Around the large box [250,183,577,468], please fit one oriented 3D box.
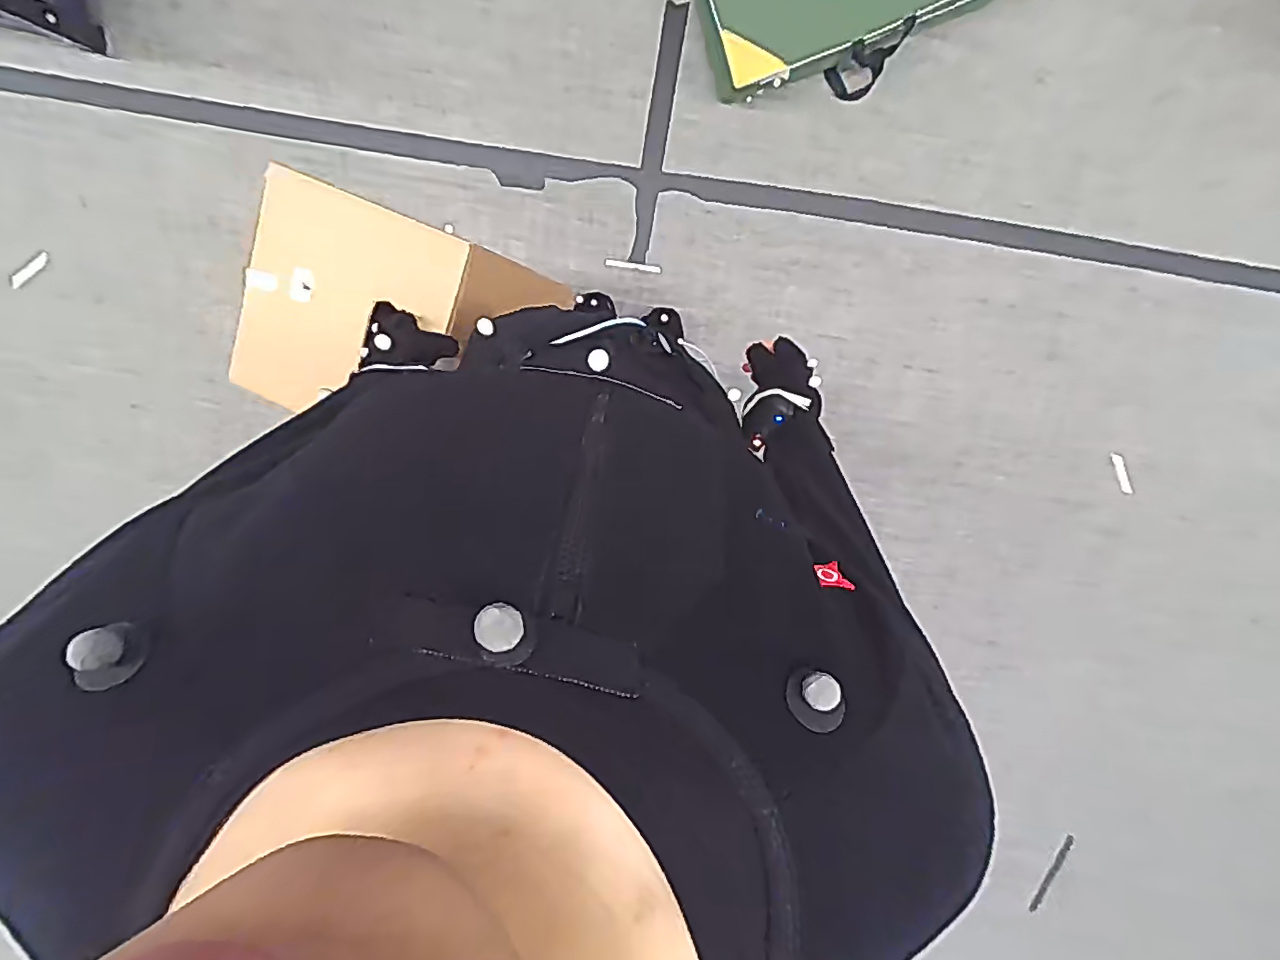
[{"bbox_3d":[-0.356,-0.249,0.933,0.320,0.408,0.320,25,105,6],"label":"large box"}]
